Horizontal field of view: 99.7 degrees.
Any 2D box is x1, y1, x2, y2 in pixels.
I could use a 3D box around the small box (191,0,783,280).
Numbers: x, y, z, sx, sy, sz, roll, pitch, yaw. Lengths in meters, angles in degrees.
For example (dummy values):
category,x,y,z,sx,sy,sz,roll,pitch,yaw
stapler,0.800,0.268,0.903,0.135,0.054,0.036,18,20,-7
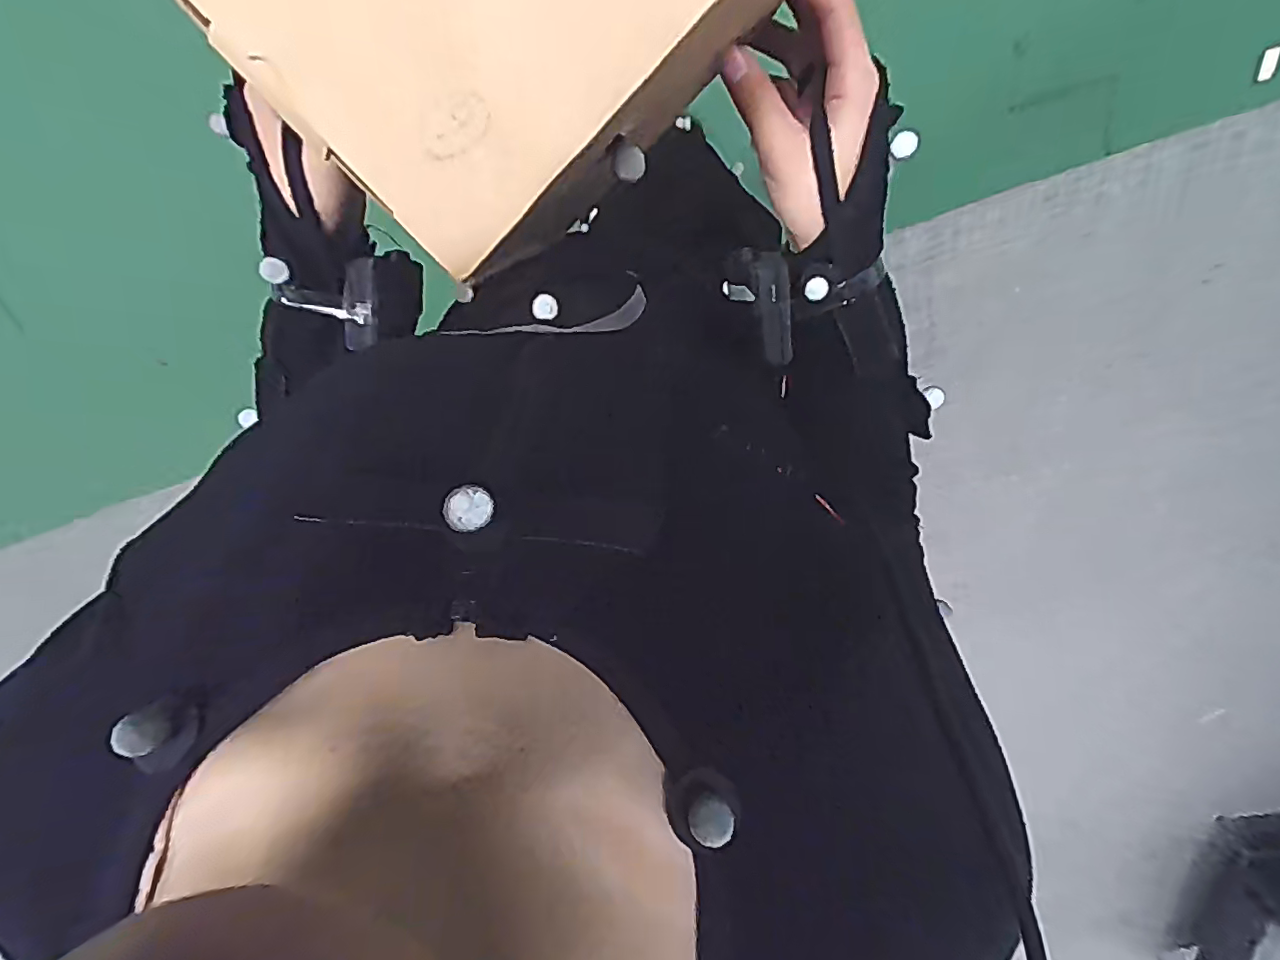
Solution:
category,x,y,z,sx,sy,sz,roll,pitch,yaw
small box,-0.047,-0.213,0.219,0.179,0.176,0.168,-37,109,22
